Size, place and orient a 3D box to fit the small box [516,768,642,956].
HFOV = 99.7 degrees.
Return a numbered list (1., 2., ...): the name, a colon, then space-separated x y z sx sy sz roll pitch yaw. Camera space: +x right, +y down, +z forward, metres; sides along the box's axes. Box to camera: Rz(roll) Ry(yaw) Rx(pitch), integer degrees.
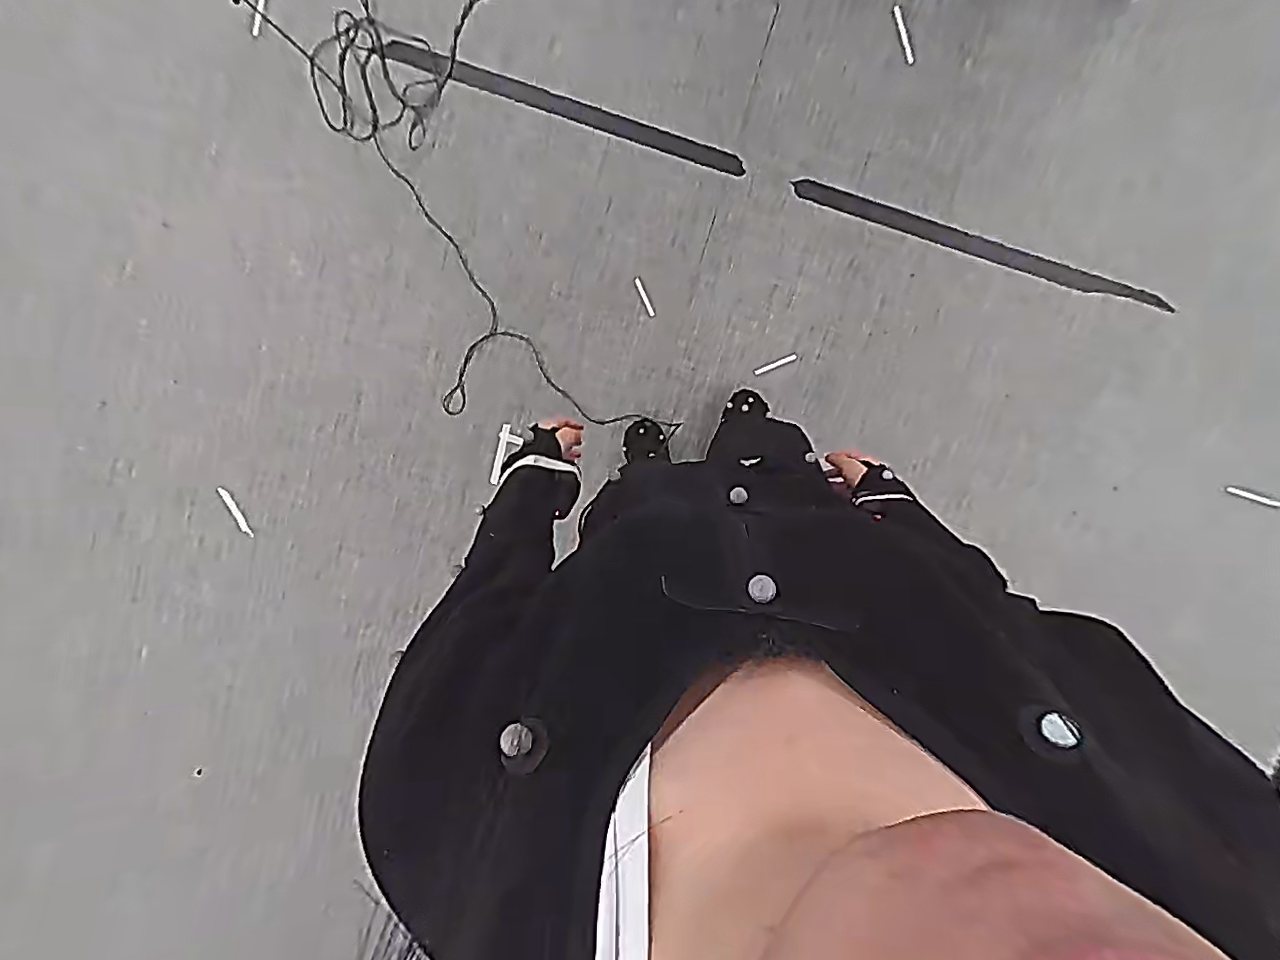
1. small box: -0.090 0.603 0.875 0.168 0.176 0.179 9 97 2
